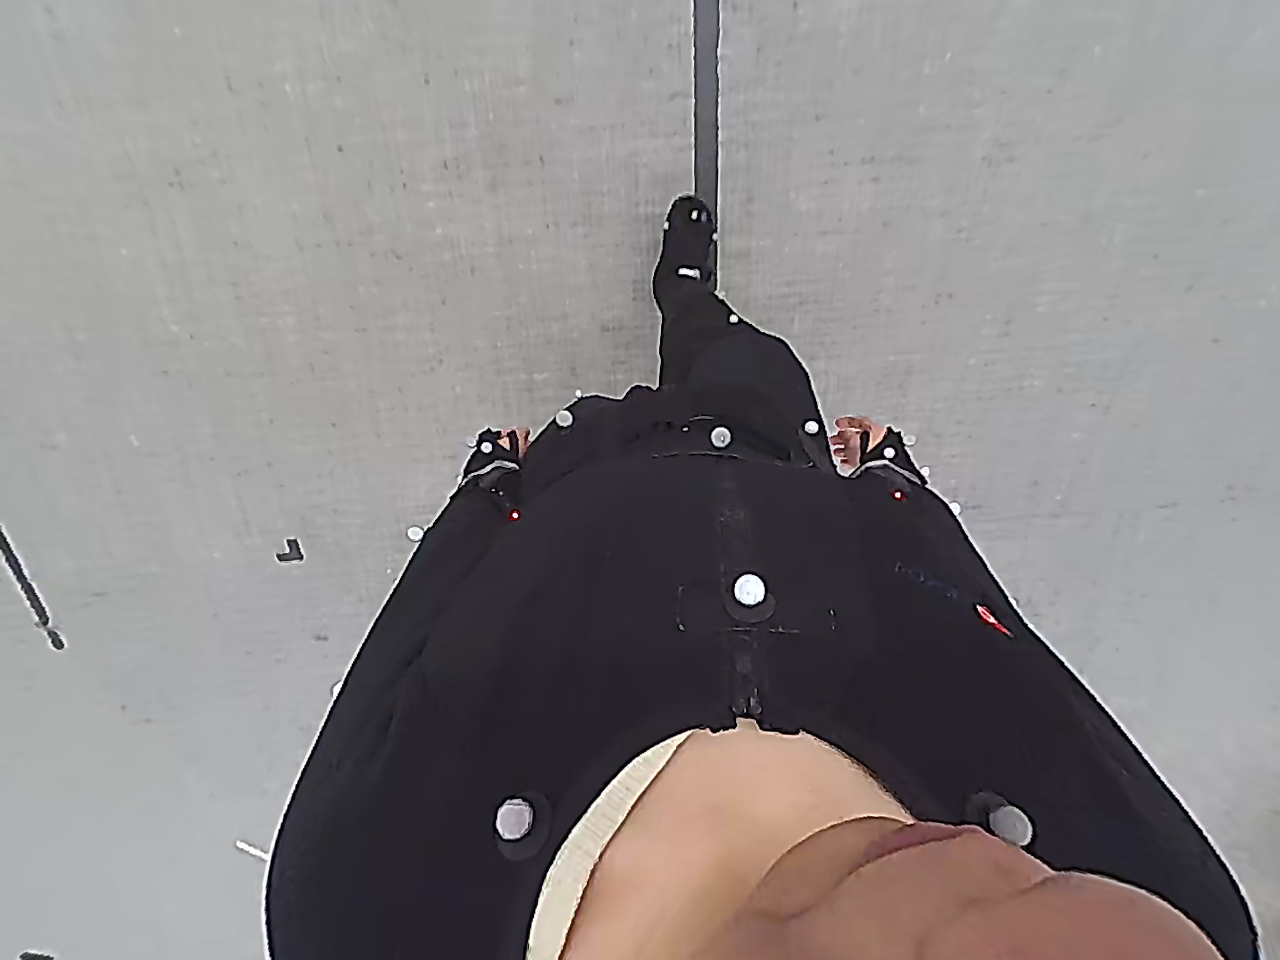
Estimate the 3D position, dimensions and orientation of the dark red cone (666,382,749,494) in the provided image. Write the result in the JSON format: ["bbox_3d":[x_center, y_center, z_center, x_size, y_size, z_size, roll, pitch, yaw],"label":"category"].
[{"bbox_3d":[0.168,-0.073,1.164,0.201,0.394,0.202,-4,113,0],"label":"dark red cone"}]
